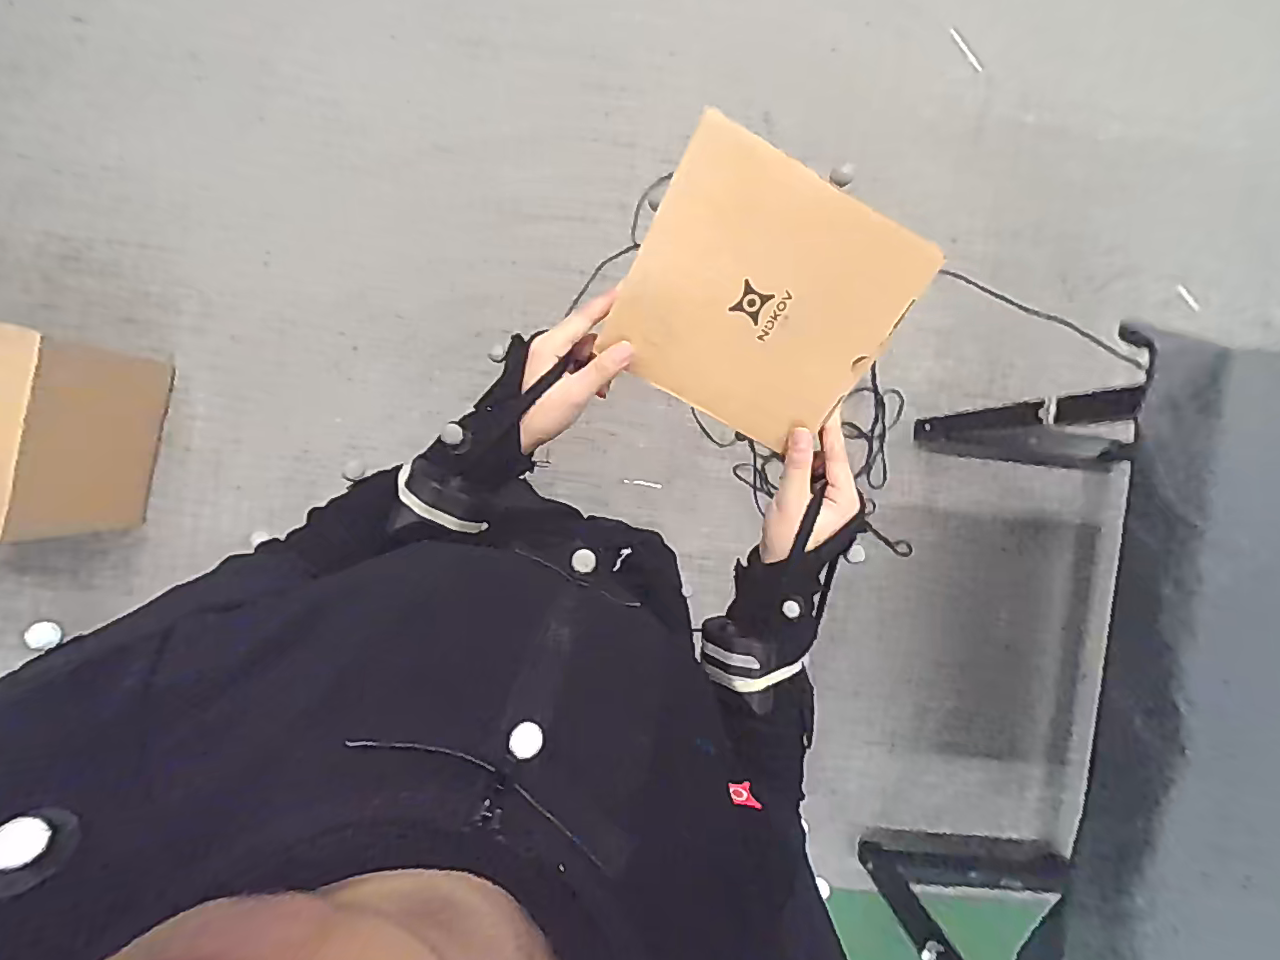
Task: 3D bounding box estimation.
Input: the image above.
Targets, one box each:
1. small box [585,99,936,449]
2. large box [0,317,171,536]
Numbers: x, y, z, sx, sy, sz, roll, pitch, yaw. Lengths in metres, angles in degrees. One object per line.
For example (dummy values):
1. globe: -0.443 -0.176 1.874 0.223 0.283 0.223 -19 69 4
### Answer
1. small box: 0.080 -0.157 0.430 0.179 0.176 0.168 26 117 -7
2. large box: -1.293 -0.117 1.136 0.320 0.320 0.408 12 90 -5
